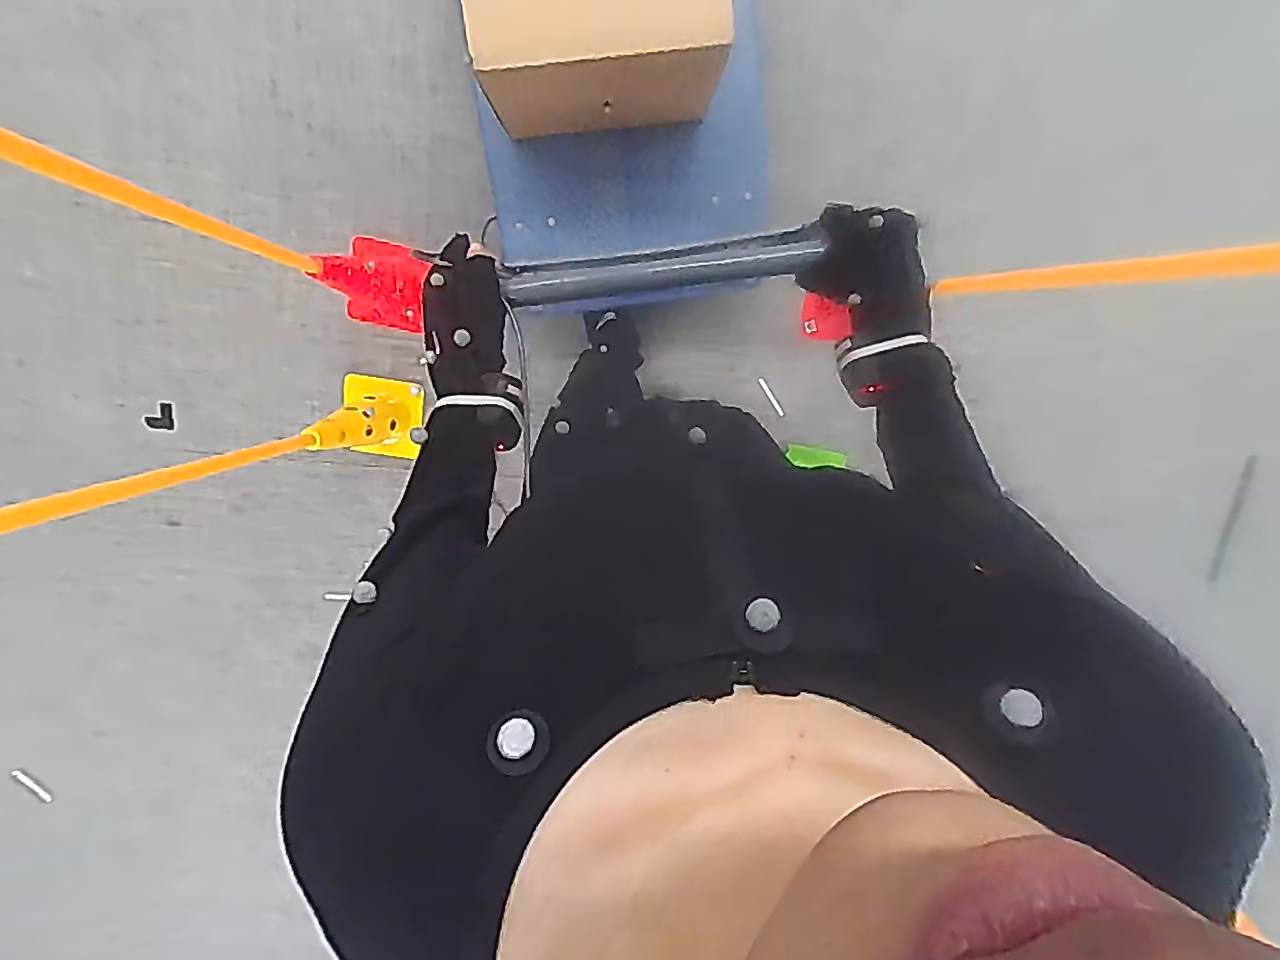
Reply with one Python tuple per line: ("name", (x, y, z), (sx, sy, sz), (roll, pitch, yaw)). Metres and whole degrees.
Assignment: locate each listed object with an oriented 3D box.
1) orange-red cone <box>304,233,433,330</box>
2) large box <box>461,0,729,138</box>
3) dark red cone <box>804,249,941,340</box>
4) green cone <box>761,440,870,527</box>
("orange-red cone", (-0.608, -0.445, 1.158), (0.198, 0.360, 0.199), (12, 102, -6))
("large box", (-0.079, -0.828, 0.933), (0.408, 0.320, 0.320), (-6, 105, 0))
("dark red cone", (0.525, -0.421, 1.187), (0.201, 0.394, 0.202), (5, 104, -5))
("green cone", (0.454, 0.042, 1.317), (0.202, 0.368, 0.200), (9, 103, -6))
